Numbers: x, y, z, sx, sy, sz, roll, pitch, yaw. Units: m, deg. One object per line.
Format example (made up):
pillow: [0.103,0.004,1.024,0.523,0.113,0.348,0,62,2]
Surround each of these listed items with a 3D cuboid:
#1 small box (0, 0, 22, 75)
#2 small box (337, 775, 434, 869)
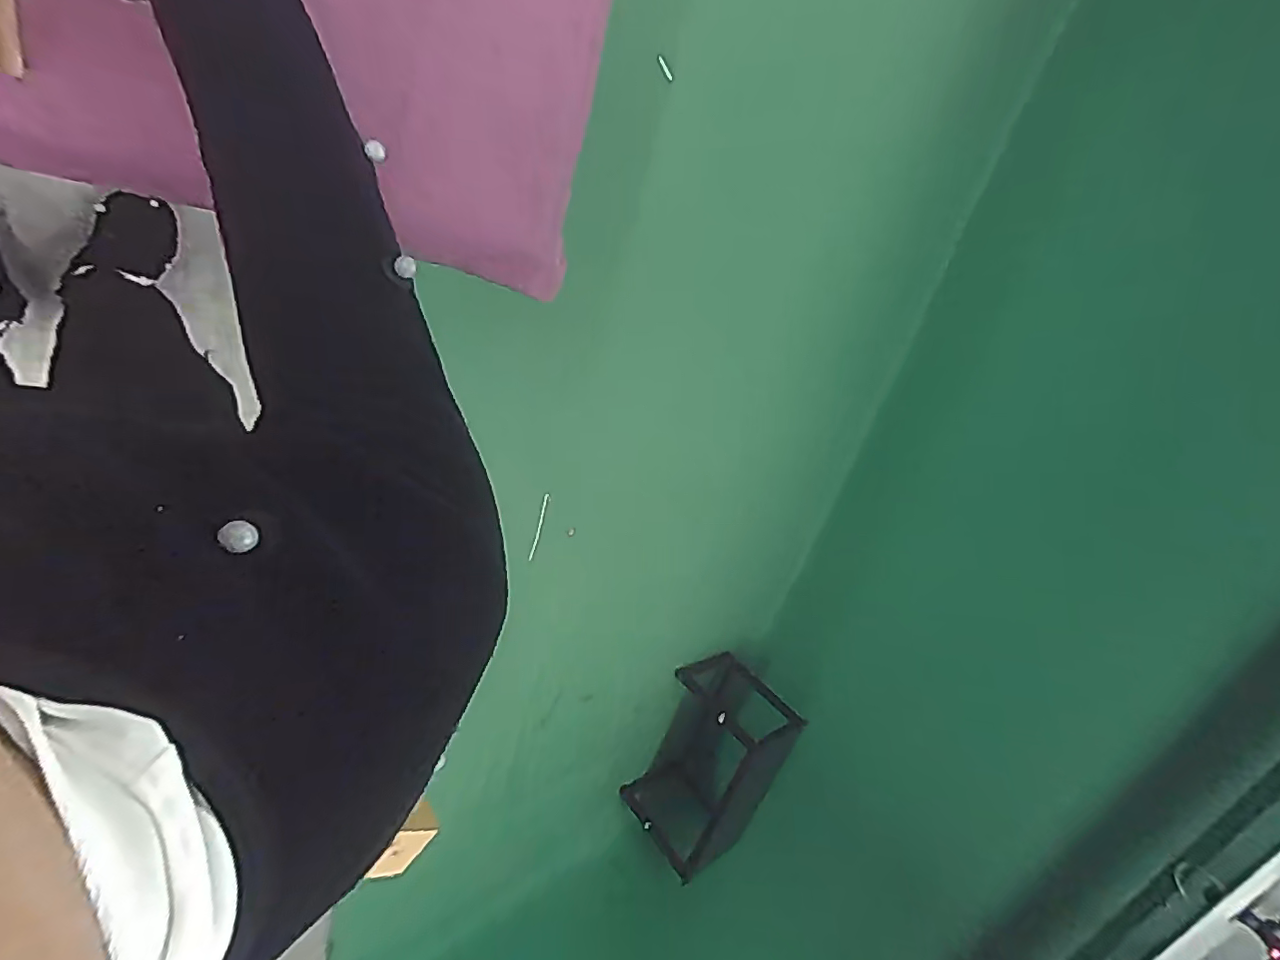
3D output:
small box: [-0.540,-0.399,0.350,0.168,0.176,0.179,-4,120,-43]
small box: [-0.757,1.008,1.606,0.168,0.176,0.179,-49,141,-4]
